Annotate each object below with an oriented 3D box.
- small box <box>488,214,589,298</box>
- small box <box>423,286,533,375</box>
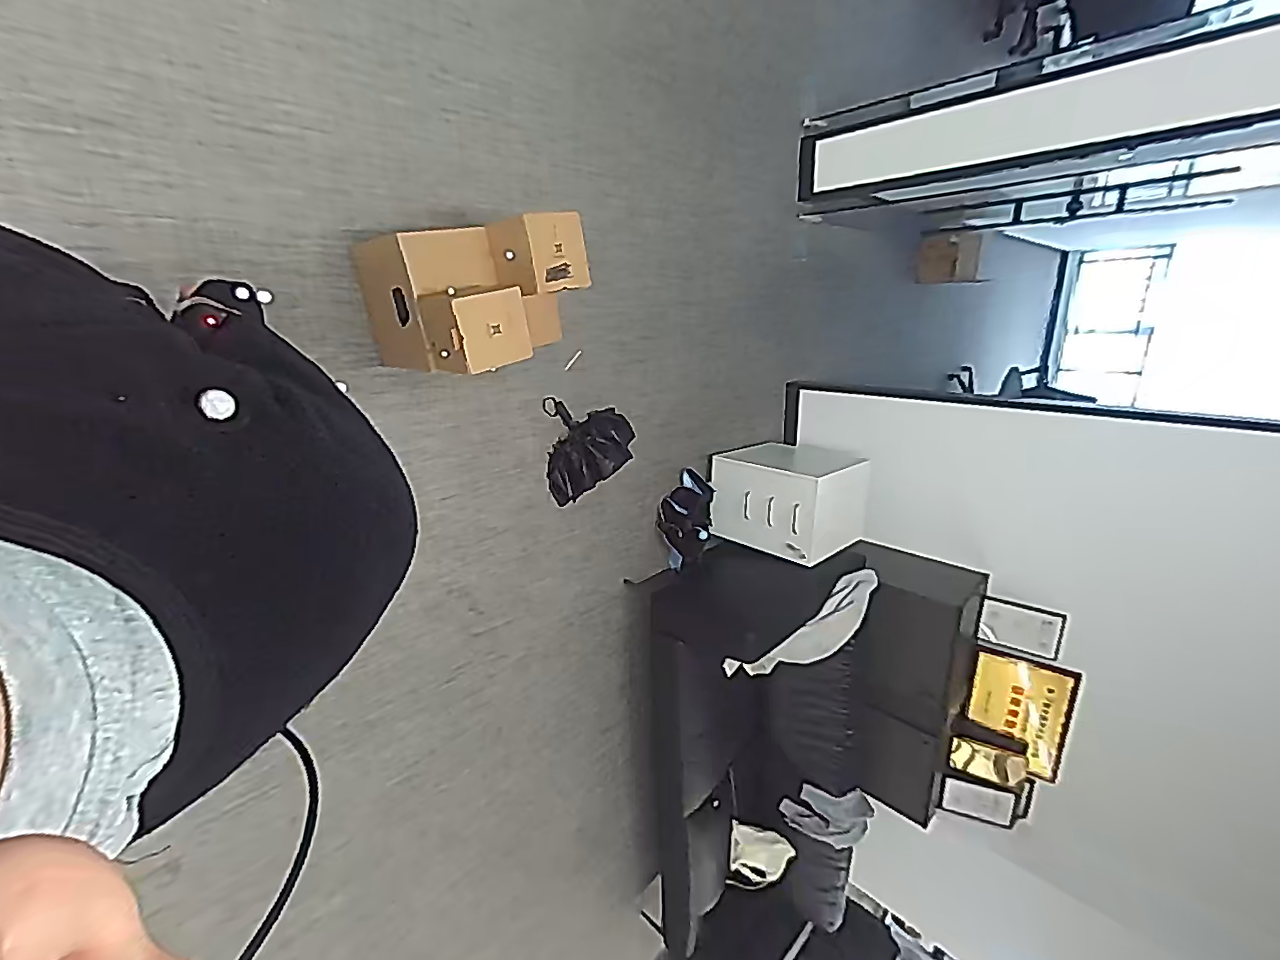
[{"bbox_3d":[-0.251,-0.552,1.343,0.168,0.176,0.179,-25,115,-39],"label":"small box"},{"bbox_3d":[-0.383,-0.353,1.265,0.179,0.176,0.168,-31,125,-38],"label":"small box"}]
